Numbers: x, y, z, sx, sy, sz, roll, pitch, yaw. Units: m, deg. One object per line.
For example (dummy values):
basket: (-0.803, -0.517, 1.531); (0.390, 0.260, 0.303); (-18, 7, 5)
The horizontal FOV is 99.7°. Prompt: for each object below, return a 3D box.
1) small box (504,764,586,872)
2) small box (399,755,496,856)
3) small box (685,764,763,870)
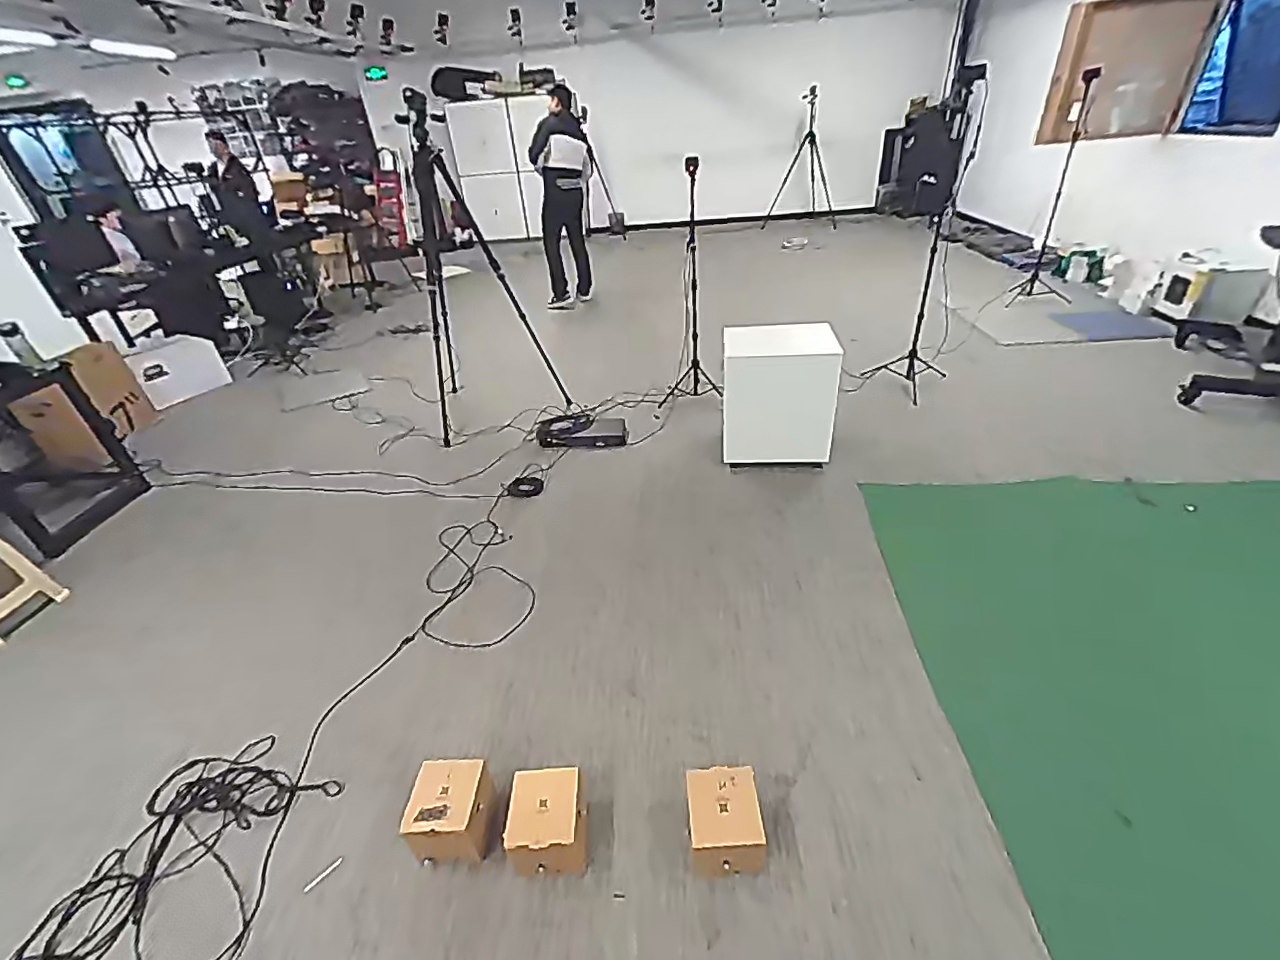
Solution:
small box: (-0.227, 0.838, 1.342); (0.168, 0.176, 0.179); (-5, 35, 1)
small box: (-0.479, 0.832, 1.379); (0.168, 0.176, 0.179); (-3, 34, 3)
small box: (0.199, 0.821, 1.311); (0.168, 0.176, 0.179); (-3, 35, 1)
